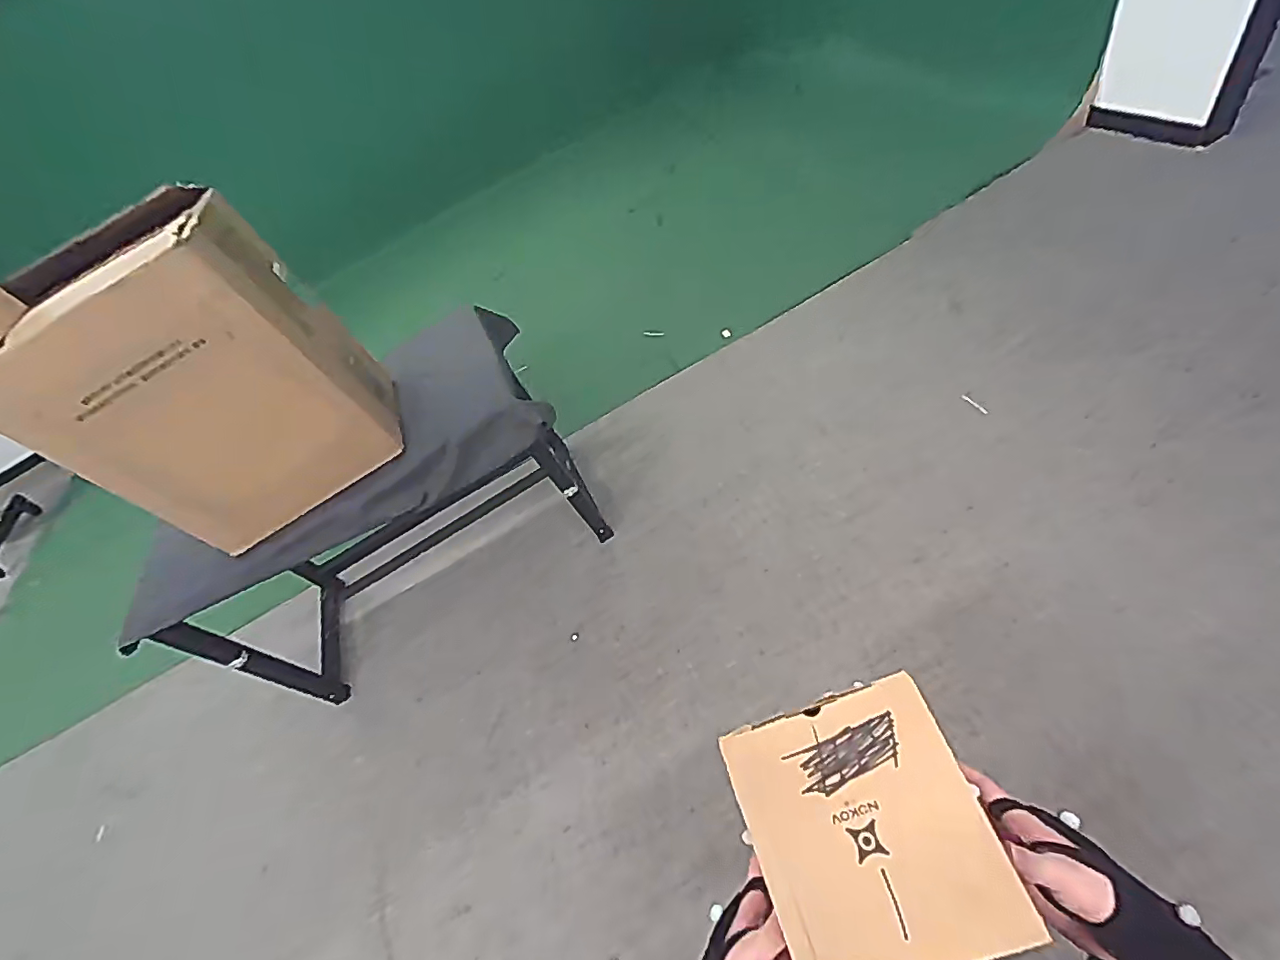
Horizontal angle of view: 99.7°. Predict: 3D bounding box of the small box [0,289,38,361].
[{"bbox_3d":[-1.284,-0.288,0.990,0.168,0.176,0.179,-33,48,0],"label":"small box"}]
